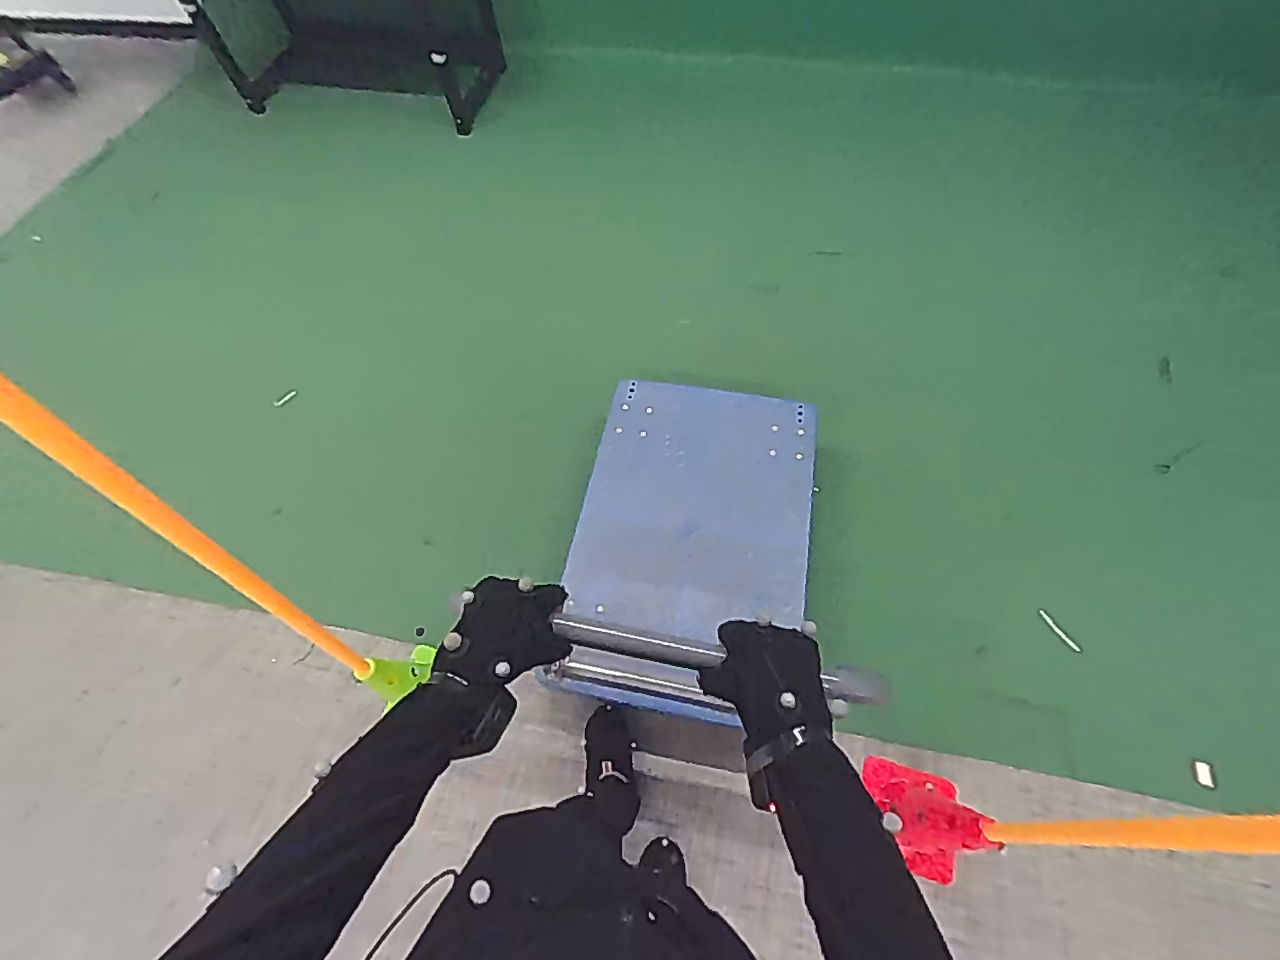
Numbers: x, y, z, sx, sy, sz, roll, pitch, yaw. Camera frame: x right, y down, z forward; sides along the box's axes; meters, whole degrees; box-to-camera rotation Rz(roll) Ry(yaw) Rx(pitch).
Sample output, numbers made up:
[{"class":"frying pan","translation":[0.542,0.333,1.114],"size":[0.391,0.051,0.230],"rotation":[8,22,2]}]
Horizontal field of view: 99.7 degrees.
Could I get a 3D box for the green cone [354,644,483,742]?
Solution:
[{"class":"green cone","translation":[-0.526,0.447,1.214],"size":[0.202,0.368,0.200],"rotation":[13,62,11]}]
